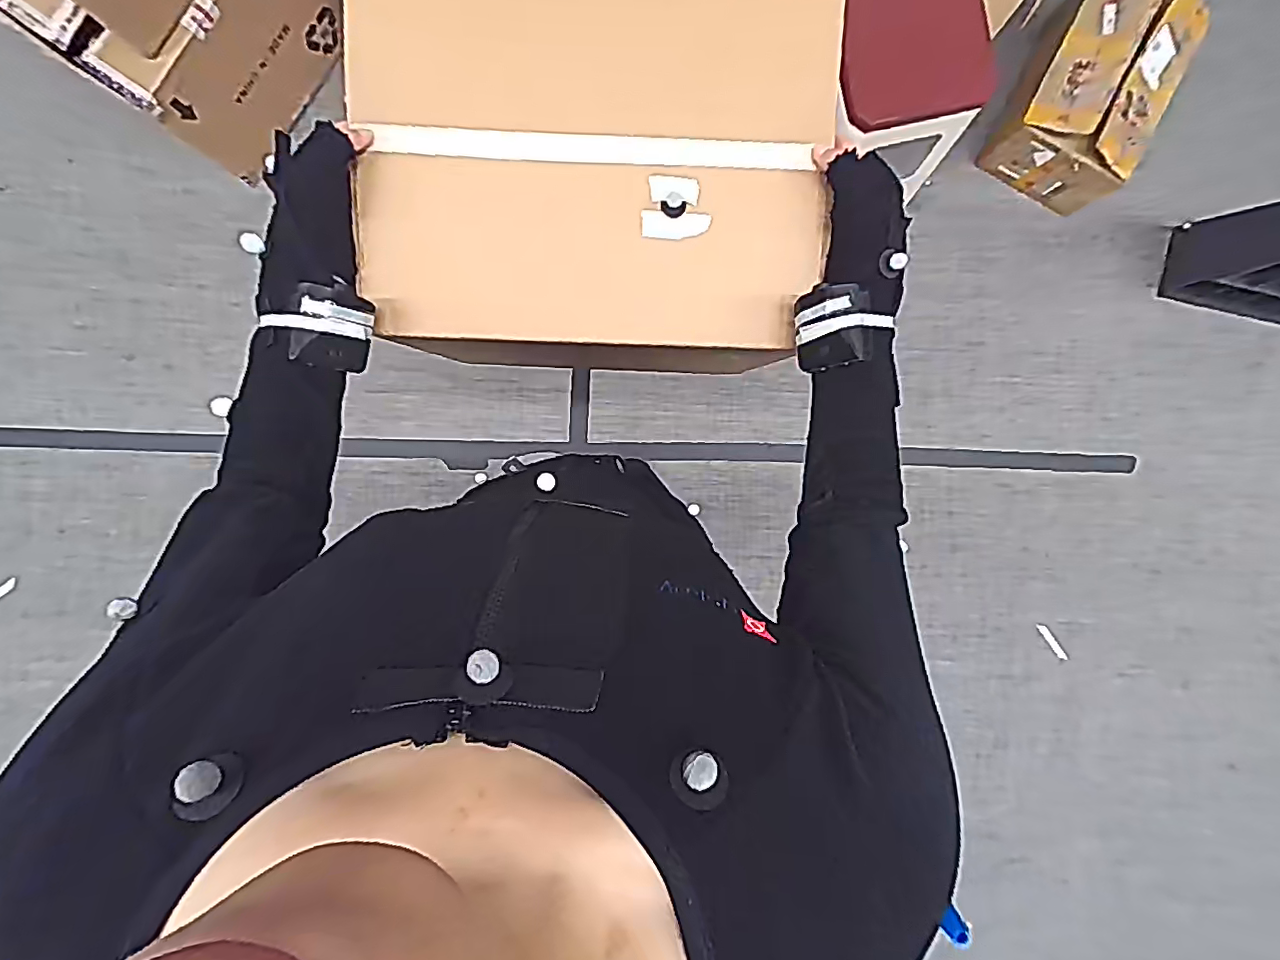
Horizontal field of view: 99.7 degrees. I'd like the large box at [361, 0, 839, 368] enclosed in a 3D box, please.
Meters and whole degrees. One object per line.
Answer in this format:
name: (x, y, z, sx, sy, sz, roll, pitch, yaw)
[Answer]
large box: (-0.041, -0.297, 0.608, 0.408, 0.320, 0.320, 1, 97, -3)
